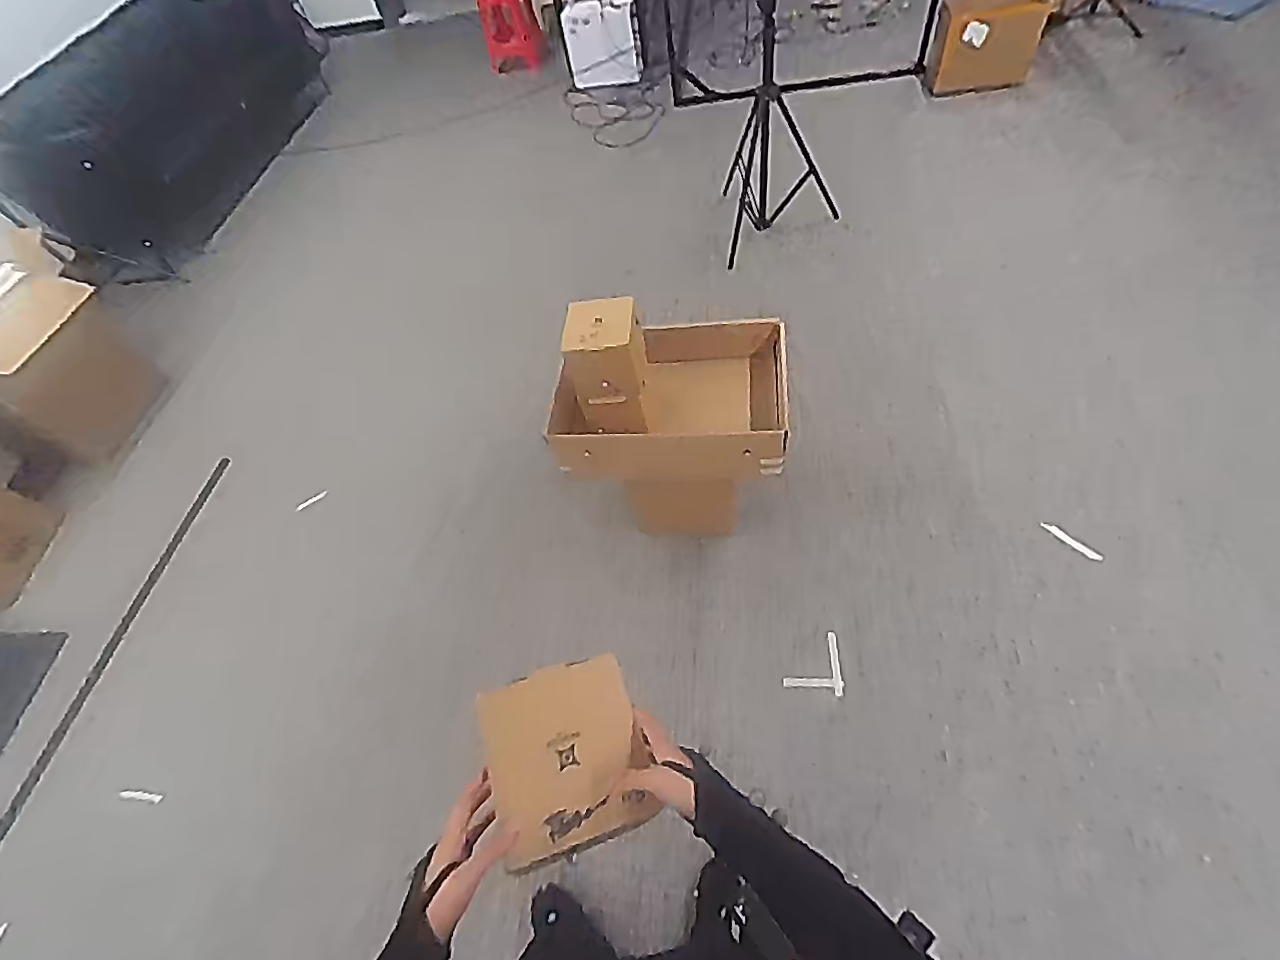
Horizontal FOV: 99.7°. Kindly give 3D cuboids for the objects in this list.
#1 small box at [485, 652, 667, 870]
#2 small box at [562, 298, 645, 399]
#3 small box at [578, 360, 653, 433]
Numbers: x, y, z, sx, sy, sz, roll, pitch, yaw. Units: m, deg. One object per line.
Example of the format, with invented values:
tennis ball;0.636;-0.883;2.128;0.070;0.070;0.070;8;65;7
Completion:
small box;-0.085;0.333;0.642;0.168;0.176;0.179;-11;56;-17
small box;-0.084;-0.325;1.354;0.168;0.176;0.179;-3;57;11
small box;-0.060;-0.240;1.494;0.168;0.176;0.179;-2;56;12
